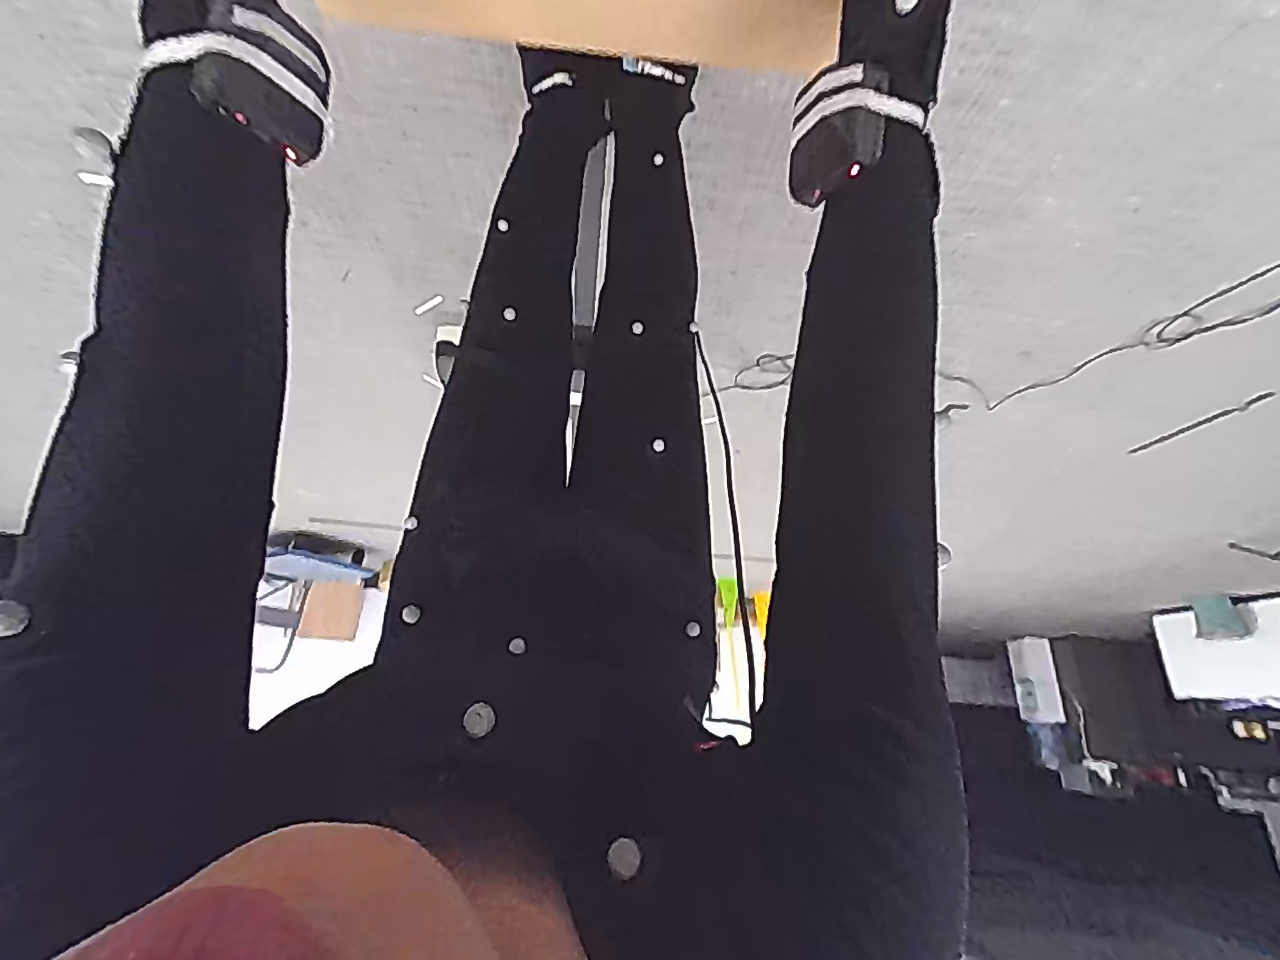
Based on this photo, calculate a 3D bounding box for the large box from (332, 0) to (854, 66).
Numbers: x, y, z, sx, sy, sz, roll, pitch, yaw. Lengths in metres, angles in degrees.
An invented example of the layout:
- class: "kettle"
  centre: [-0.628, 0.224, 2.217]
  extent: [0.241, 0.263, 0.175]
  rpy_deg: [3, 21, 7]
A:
- class: "large box"
  centre: [-0.028, -0.551, 0.375]
  extent: [0.408, 0.320, 0.320]
  rpy_deg: [3, 152, -3]
